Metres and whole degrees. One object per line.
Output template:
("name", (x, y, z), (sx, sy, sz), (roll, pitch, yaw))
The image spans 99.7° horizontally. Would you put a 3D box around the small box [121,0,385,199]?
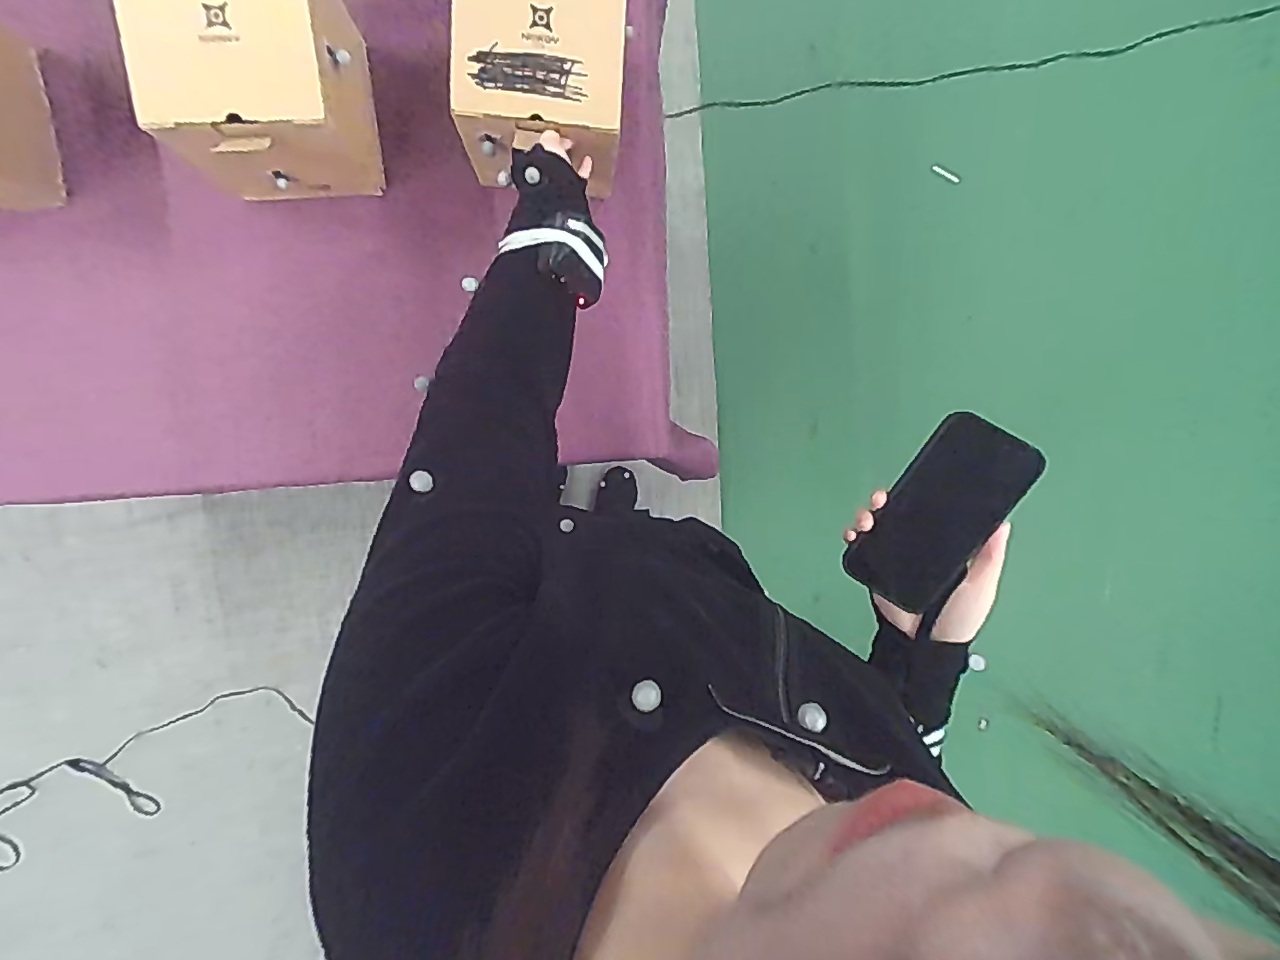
("small box", (-0.391, -0.425, 0.573), (0.168, 0.176, 0.179), (-6, 98, -6))
